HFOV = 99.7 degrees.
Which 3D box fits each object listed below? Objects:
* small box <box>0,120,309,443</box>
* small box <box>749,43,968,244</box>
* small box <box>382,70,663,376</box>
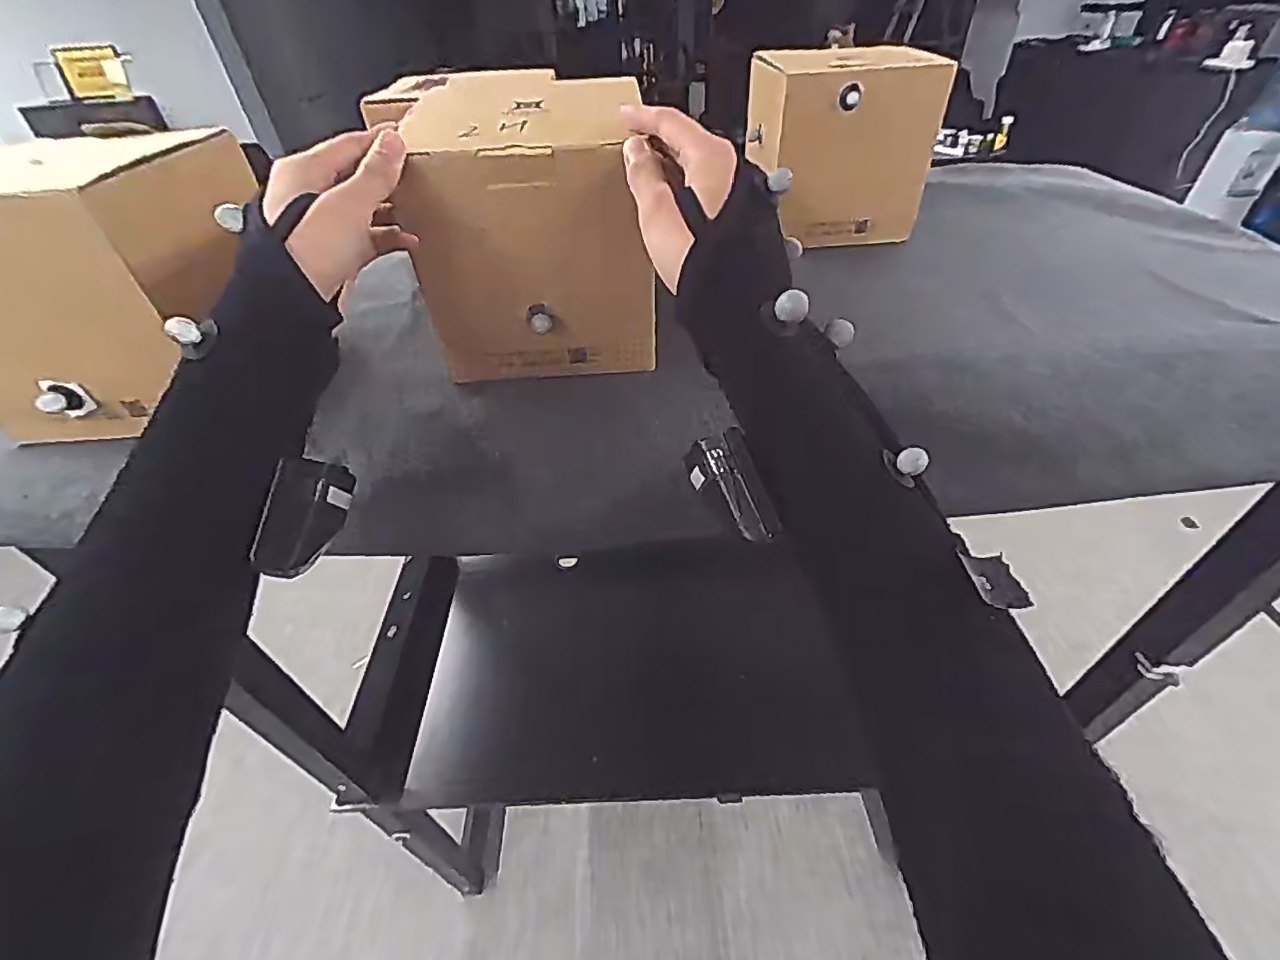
[{"bbox_3d":[-0.379,-0.147,0.394,0.168,0.176,0.179,-5,42,-2],"label":"small box"},{"bbox_3d":[0.225,-0.383,0.617,0.168,0.176,0.179,-4,42,0],"label":"small box"},{"bbox_3d":[-0.071,-0.201,0.426,0.168,0.176,0.179,-4,47,-1],"label":"small box"}]
